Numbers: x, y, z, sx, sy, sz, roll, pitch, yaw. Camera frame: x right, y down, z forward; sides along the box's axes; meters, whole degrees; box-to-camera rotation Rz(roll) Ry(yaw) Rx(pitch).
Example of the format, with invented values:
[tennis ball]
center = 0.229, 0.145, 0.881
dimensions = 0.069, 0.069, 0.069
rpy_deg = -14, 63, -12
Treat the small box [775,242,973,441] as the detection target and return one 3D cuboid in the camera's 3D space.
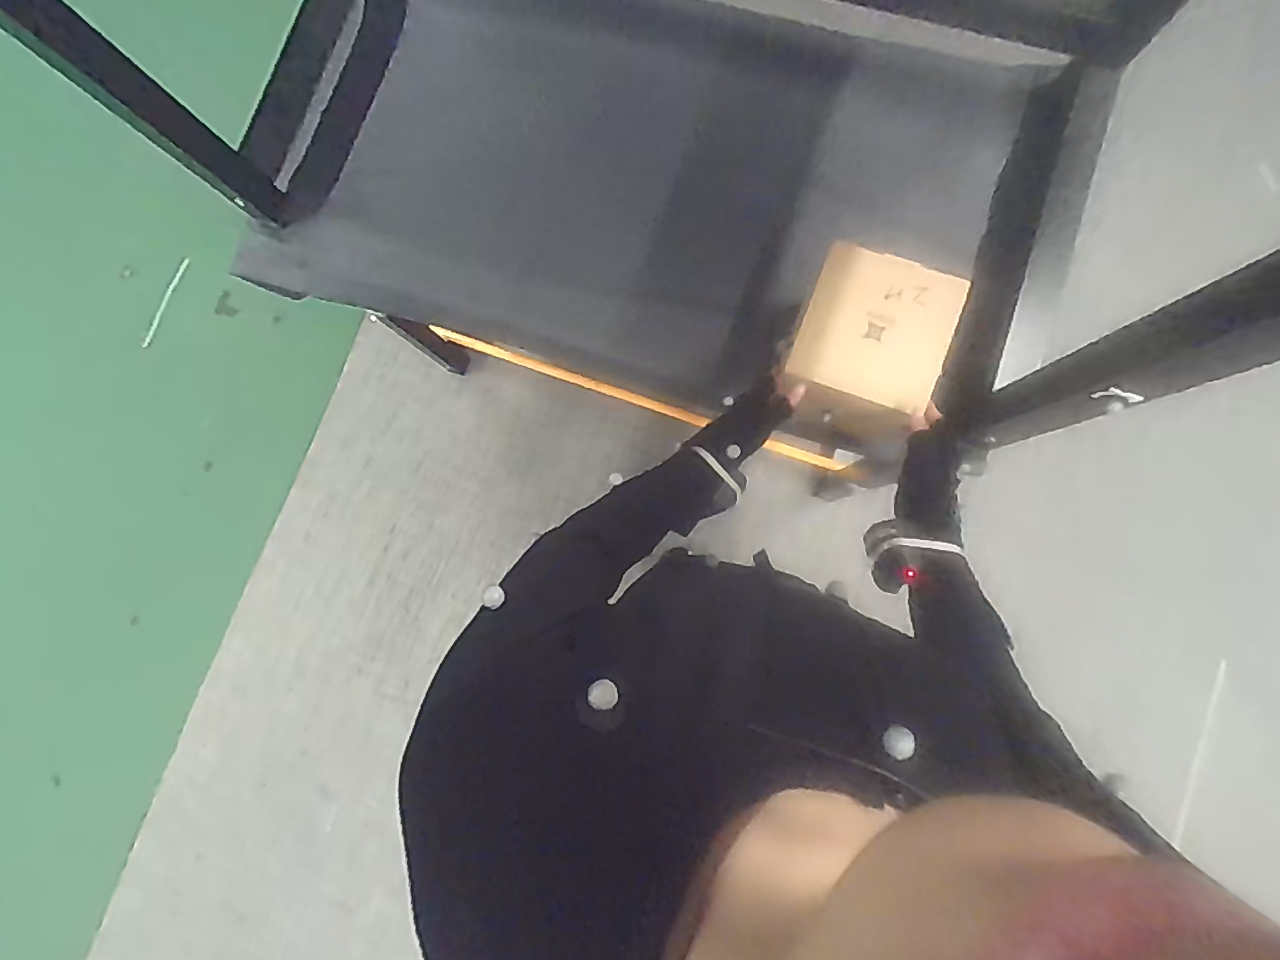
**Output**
[small box]
center = 0.286, -0.166, 0.705
dimensions = 0.168, 0.176, 0.179
rpy_deg = 21, 85, 7
